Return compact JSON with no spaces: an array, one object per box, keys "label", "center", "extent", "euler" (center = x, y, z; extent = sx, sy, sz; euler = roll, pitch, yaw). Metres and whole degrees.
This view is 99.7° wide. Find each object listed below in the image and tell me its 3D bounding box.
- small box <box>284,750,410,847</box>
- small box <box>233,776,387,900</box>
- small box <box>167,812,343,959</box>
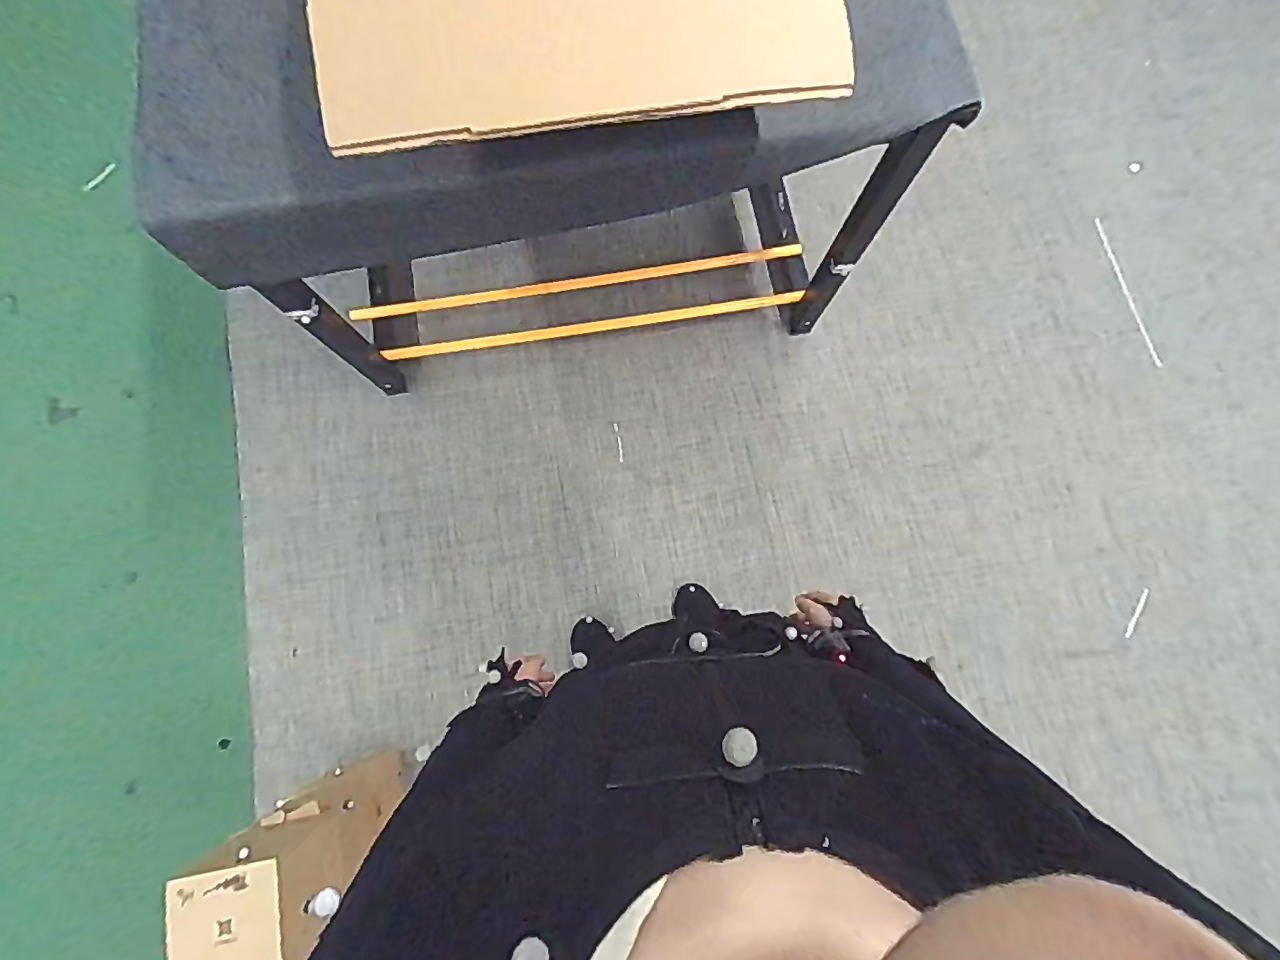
[{"label":"small box","center":[-0.627,0.721,1.183],"extent":[0.179,0.176,0.168],"euler":[-20,79,-3]},{"label":"small box","center":[-0.614,0.692,1.024],"extent":[0.168,0.176,0.179],"euler":[-23,80,-4]},{"label":"small box","center":[-0.598,0.669,0.860],"extent":[0.168,0.176,0.179],"euler":[-10,80,-3]}]
